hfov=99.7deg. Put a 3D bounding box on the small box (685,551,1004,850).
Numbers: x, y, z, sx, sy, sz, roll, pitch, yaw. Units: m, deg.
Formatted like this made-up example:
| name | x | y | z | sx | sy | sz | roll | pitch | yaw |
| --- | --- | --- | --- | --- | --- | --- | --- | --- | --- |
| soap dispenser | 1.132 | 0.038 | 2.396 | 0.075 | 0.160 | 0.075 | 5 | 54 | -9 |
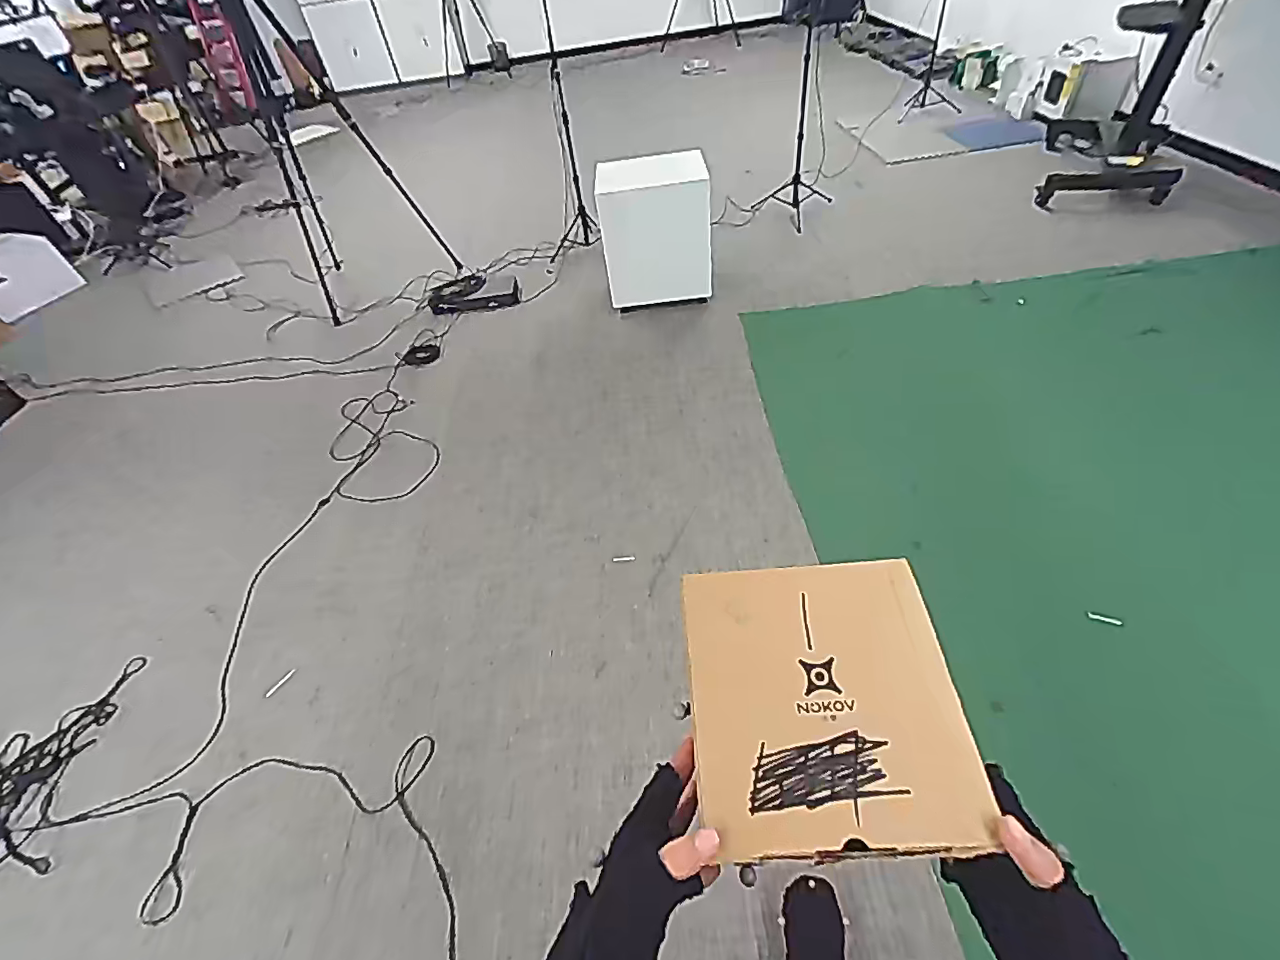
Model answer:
| name | x | y | z | sx | sy | sz | roll | pitch | yaw |
| --- | --- | --- | --- | --- | --- | --- | --- | --- | --- |
| small box | 0.124 | 0.173 | 0.410 | 0.168 | 0.176 | 0.179 | -4 | 54 | 3 |
